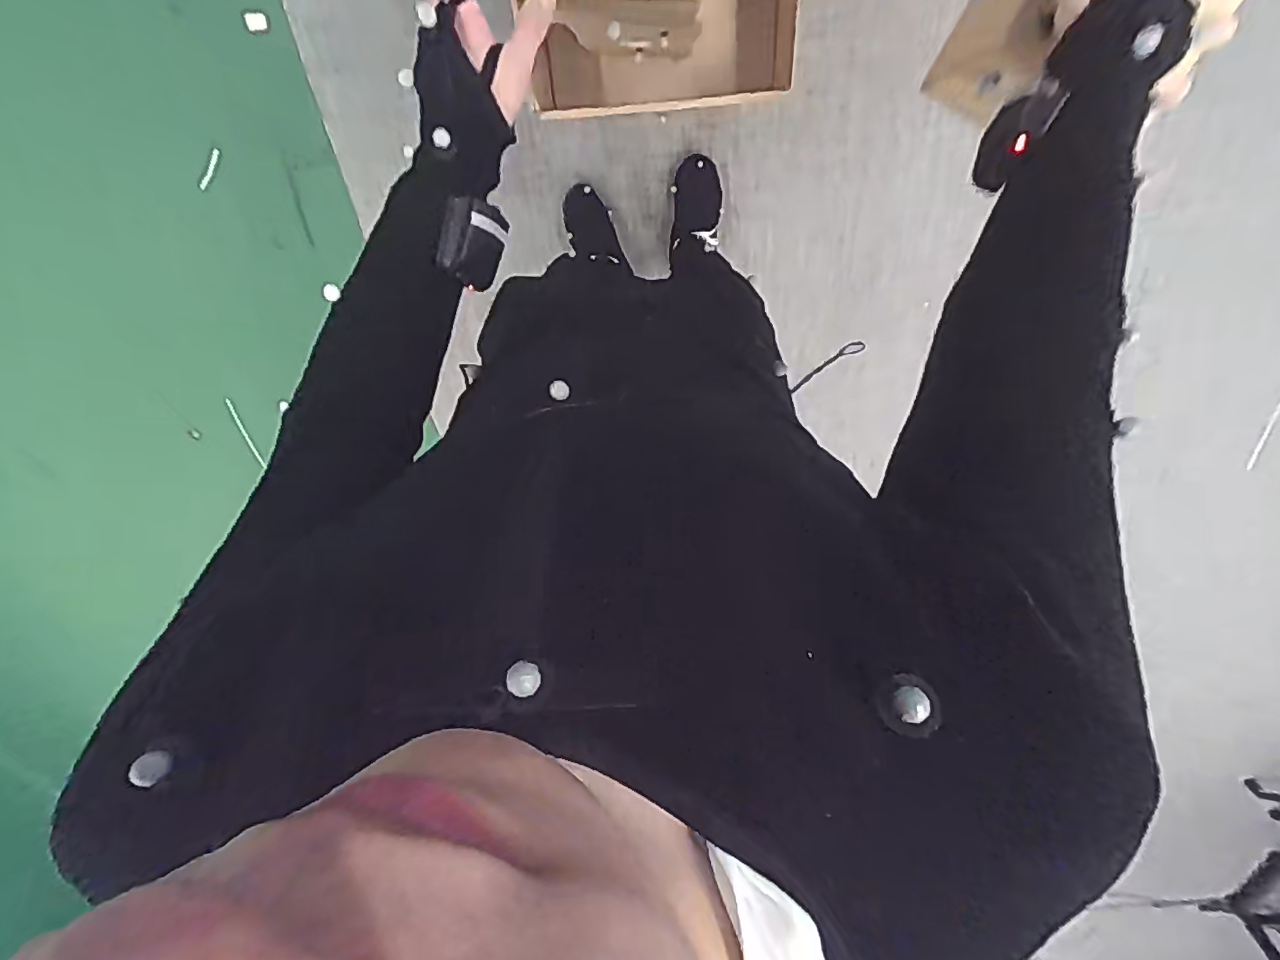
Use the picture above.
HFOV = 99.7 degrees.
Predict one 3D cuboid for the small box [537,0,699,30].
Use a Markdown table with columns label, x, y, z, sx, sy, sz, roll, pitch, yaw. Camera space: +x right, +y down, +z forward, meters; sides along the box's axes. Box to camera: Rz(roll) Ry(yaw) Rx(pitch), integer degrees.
| label | x | y | z | sx | sy | sz | roll | pitch | yaw |
| --- | --- | --- | --- | --- | --- | --- | --- | --- | --- |
| small box | -0.024 | -0.539 | 0.492 | 0.168 | 0.176 | 0.179 | 3 | 124 | 0 |

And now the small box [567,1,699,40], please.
| label | x | y | z | sx | sy | sz | roll | pitch | yaw |
| --- | --- | --- | --- | --- | --- | --- | --- | --- | --- |
| small box | -0.009 | -0.632 | 0.627 | 0.168 | 0.176 | 0.179 | 2 | 123 | 0 |
